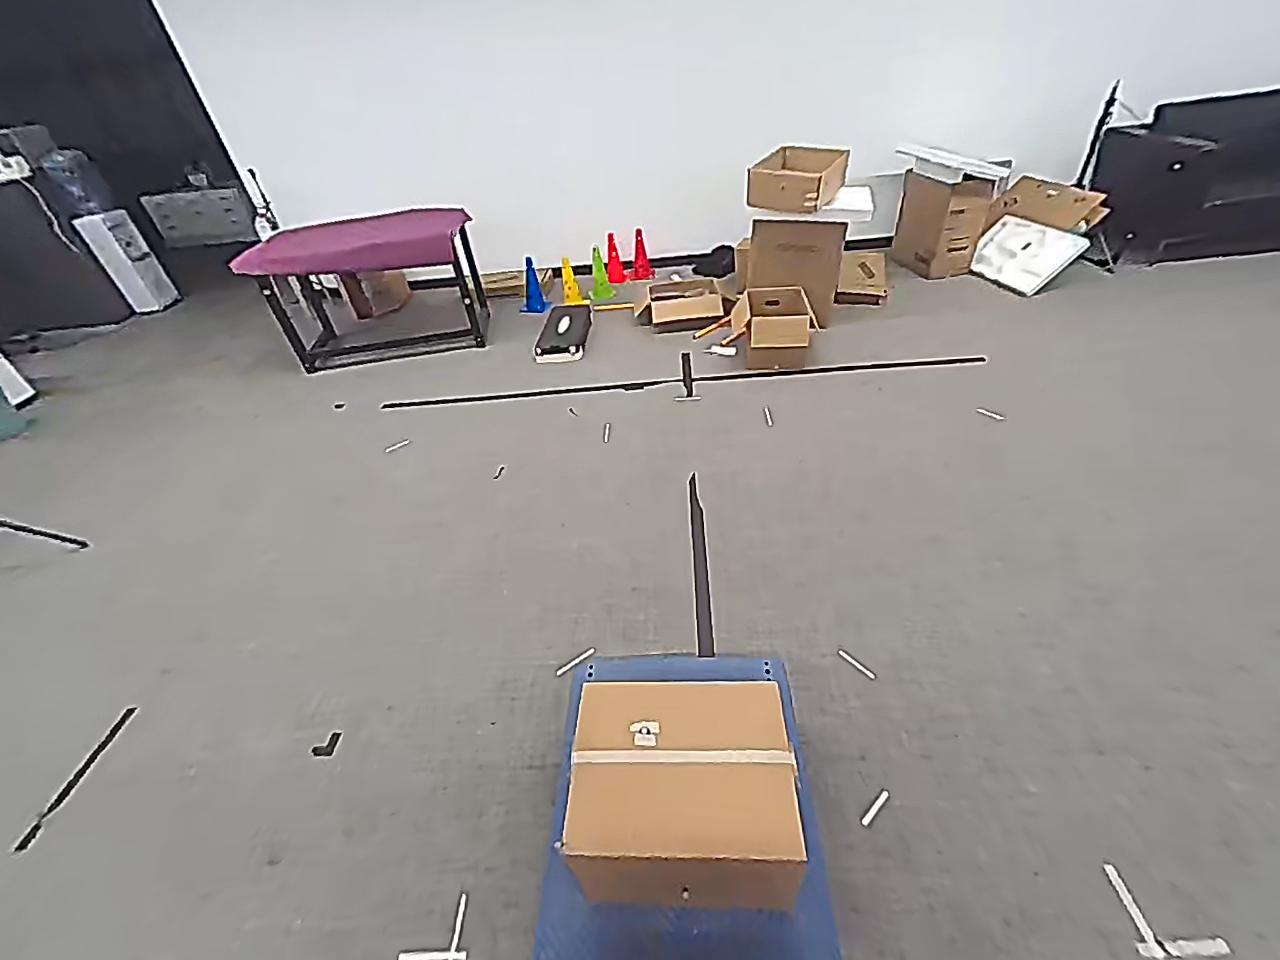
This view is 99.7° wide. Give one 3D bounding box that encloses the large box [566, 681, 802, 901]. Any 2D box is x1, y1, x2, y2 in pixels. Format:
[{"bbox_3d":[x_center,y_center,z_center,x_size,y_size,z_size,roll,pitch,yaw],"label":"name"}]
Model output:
[{"bbox_3d":[0.092,0.642,1.113,0.408,0.320,0.320,-4,38,6],"label":"large box"}]
